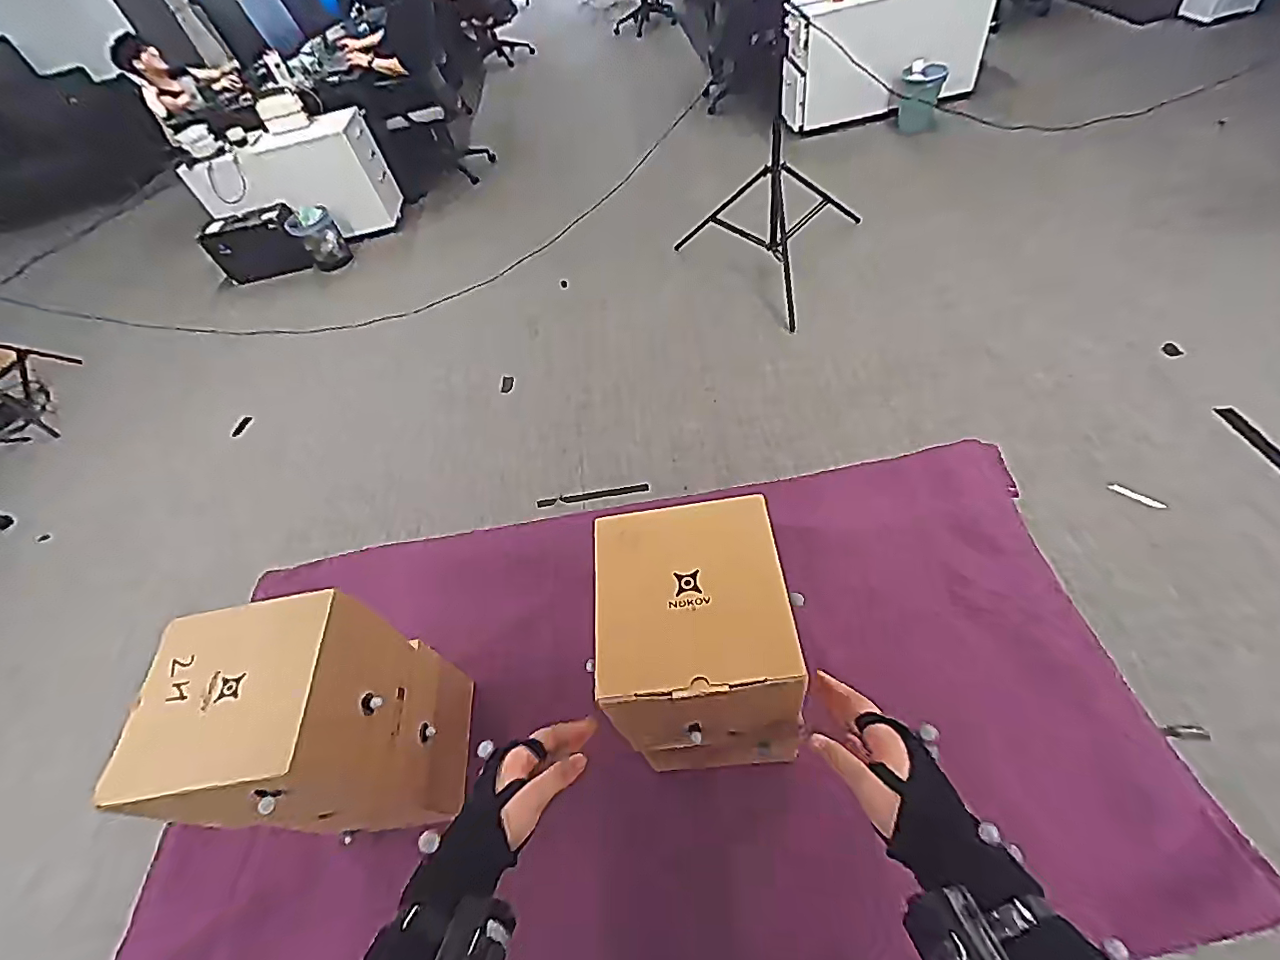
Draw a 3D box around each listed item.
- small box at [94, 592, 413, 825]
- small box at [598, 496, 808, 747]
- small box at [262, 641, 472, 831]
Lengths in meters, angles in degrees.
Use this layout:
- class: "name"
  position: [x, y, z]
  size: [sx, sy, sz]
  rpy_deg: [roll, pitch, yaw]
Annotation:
- class: "small box"
  position: [-0.355, 0.235, 0.544]
  size: [0.179, 0.176, 0.168]
  rpy_deg: [-11, 51, 3]
- class: "small box"
  position: [0.055, 0.142, 0.529]
  size: [0.168, 0.176, 0.179]
  rpy_deg: [-9, 51, 5]
- class: "small box"
  position: [-0.326, 0.327, 0.678]
  size: [0.168, 0.176, 0.179]
  rpy_deg: [-11, 51, 4]
